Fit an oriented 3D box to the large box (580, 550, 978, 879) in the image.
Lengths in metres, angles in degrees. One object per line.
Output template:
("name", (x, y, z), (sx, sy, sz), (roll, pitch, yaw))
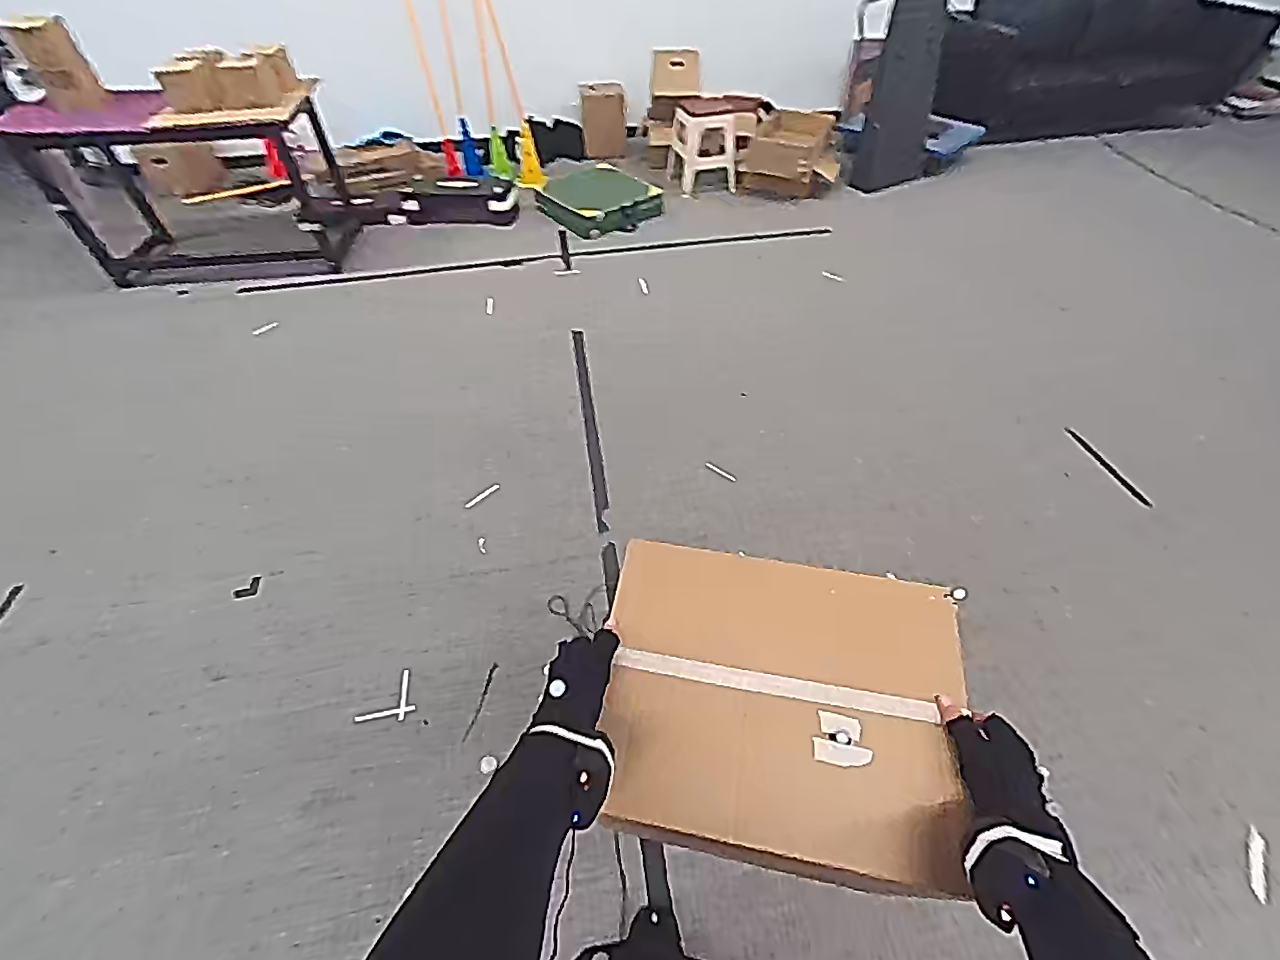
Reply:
("large box", (0.157, 0.325, 0.745), (0.408, 0.320, 0.320), (7, 56, 7))
